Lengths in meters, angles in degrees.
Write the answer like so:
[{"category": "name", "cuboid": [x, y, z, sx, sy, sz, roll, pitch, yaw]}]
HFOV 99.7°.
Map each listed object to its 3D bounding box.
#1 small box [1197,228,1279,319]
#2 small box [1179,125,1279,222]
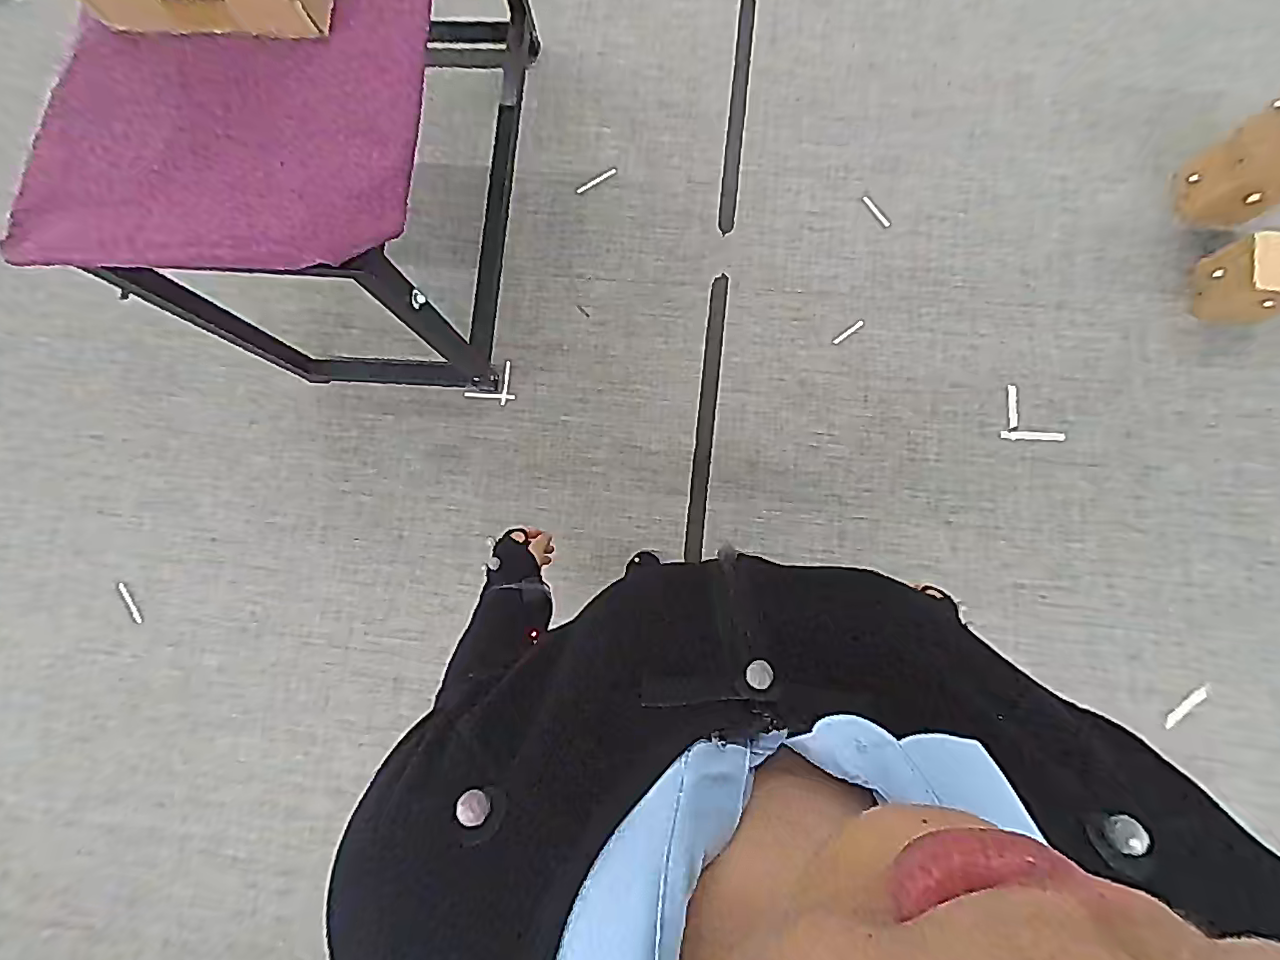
[{"category": "small box", "cuboid": [1.676, -0.552, 1.465, 0.179, 0.176, 0.168, 9, 83, 4]}, {"category": "small box", "cuboid": [1.679, -0.849, 1.511, 0.179, 0.176, 0.168, 8, 82, 4]}]
